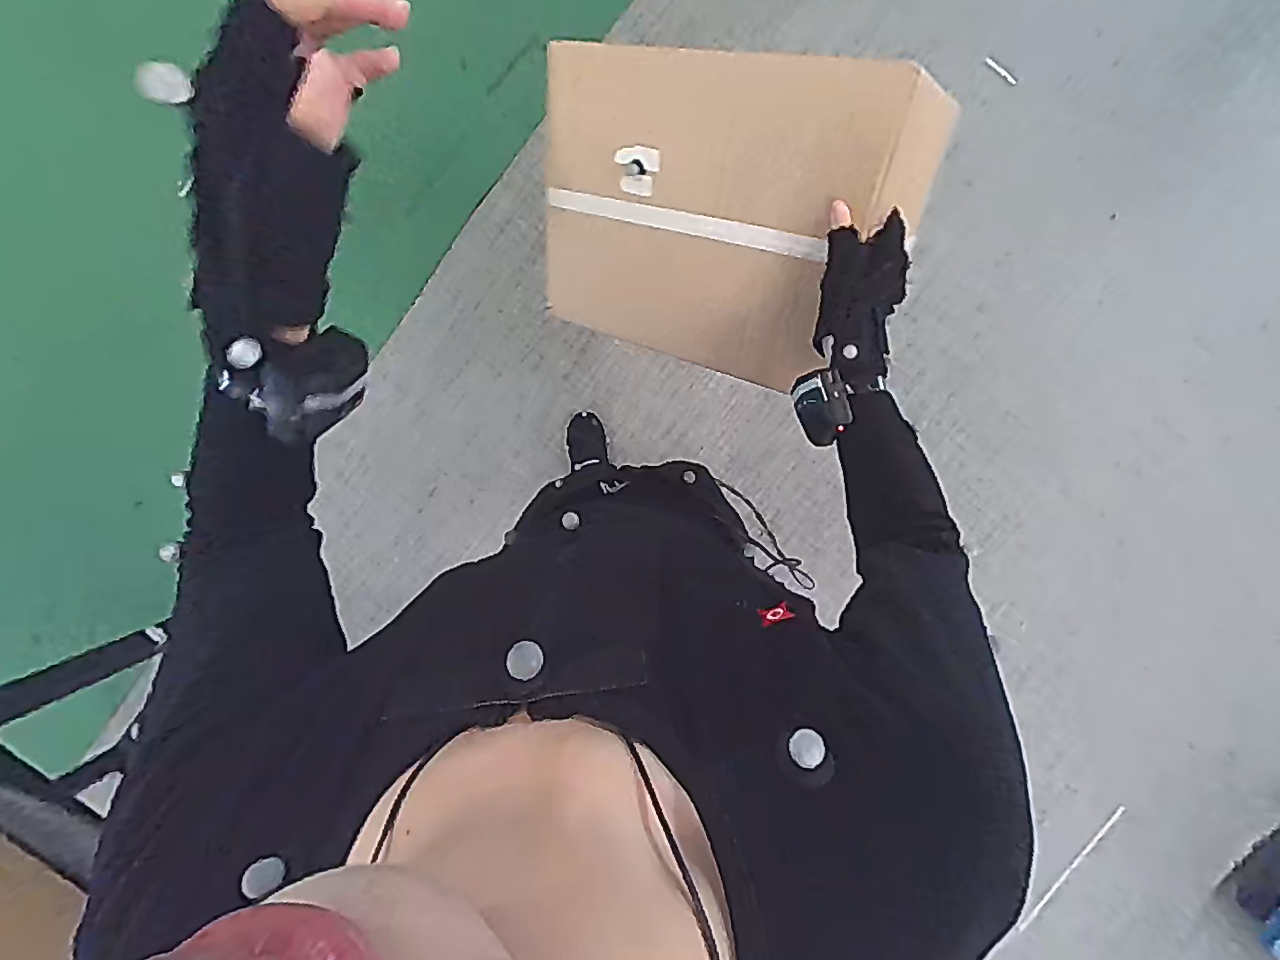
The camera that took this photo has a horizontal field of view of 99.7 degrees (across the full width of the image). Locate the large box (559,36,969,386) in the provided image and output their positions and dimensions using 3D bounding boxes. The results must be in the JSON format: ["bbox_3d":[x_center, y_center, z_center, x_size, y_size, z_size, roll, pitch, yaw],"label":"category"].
[{"bbox_3d":[0.147,-0.365,0.723,0.408,0.320,0.320,26,127,25],"label":"large box"}]
